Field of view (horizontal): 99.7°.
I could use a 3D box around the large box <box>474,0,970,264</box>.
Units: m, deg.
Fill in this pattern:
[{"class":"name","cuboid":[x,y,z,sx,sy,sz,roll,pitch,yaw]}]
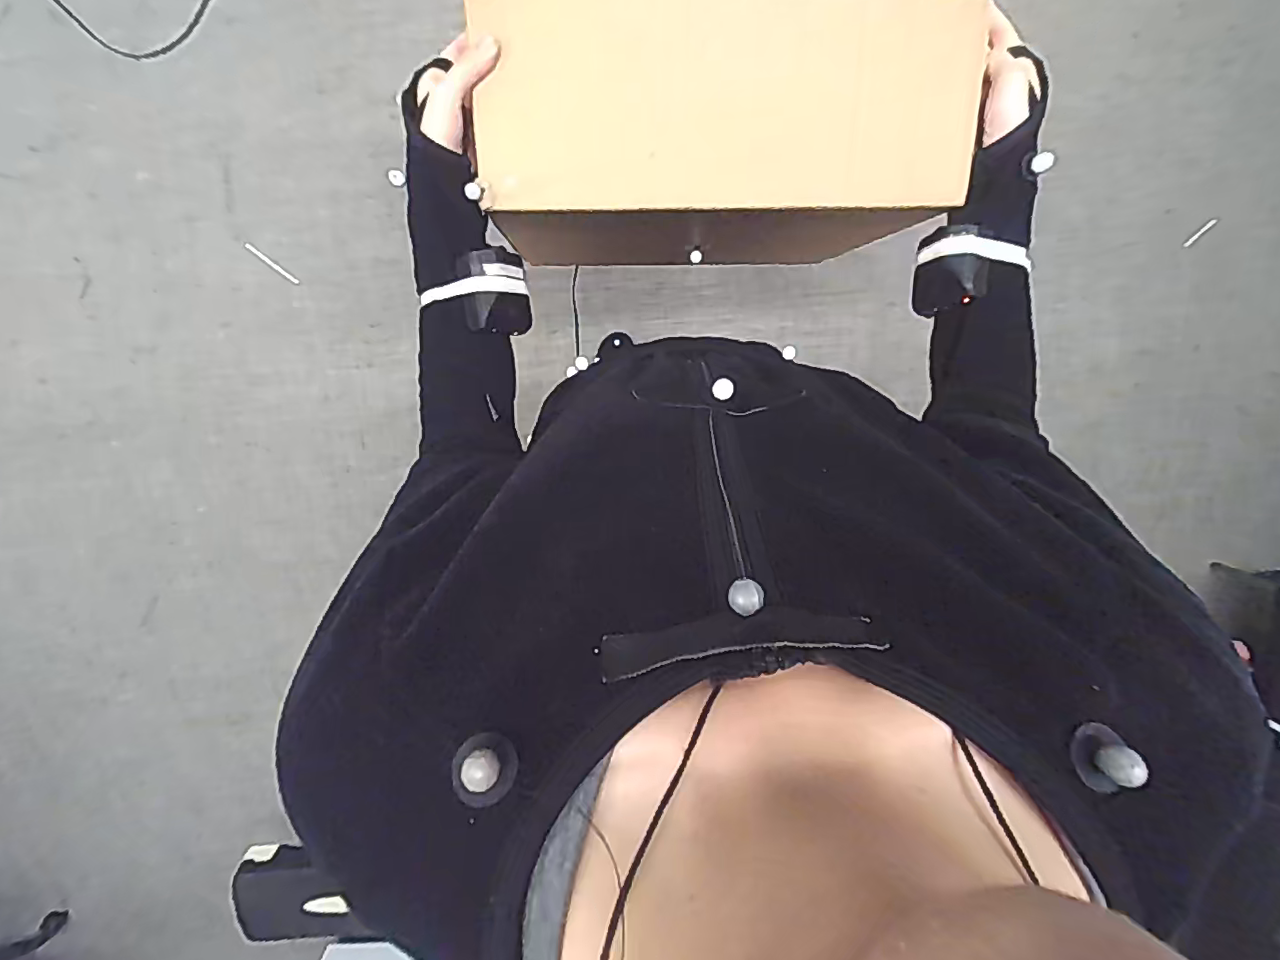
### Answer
[{"class":"large box","cuboid":[0.062,-0.415,0.568,0.408,0.320,0.320,-2,103,-3]}]
